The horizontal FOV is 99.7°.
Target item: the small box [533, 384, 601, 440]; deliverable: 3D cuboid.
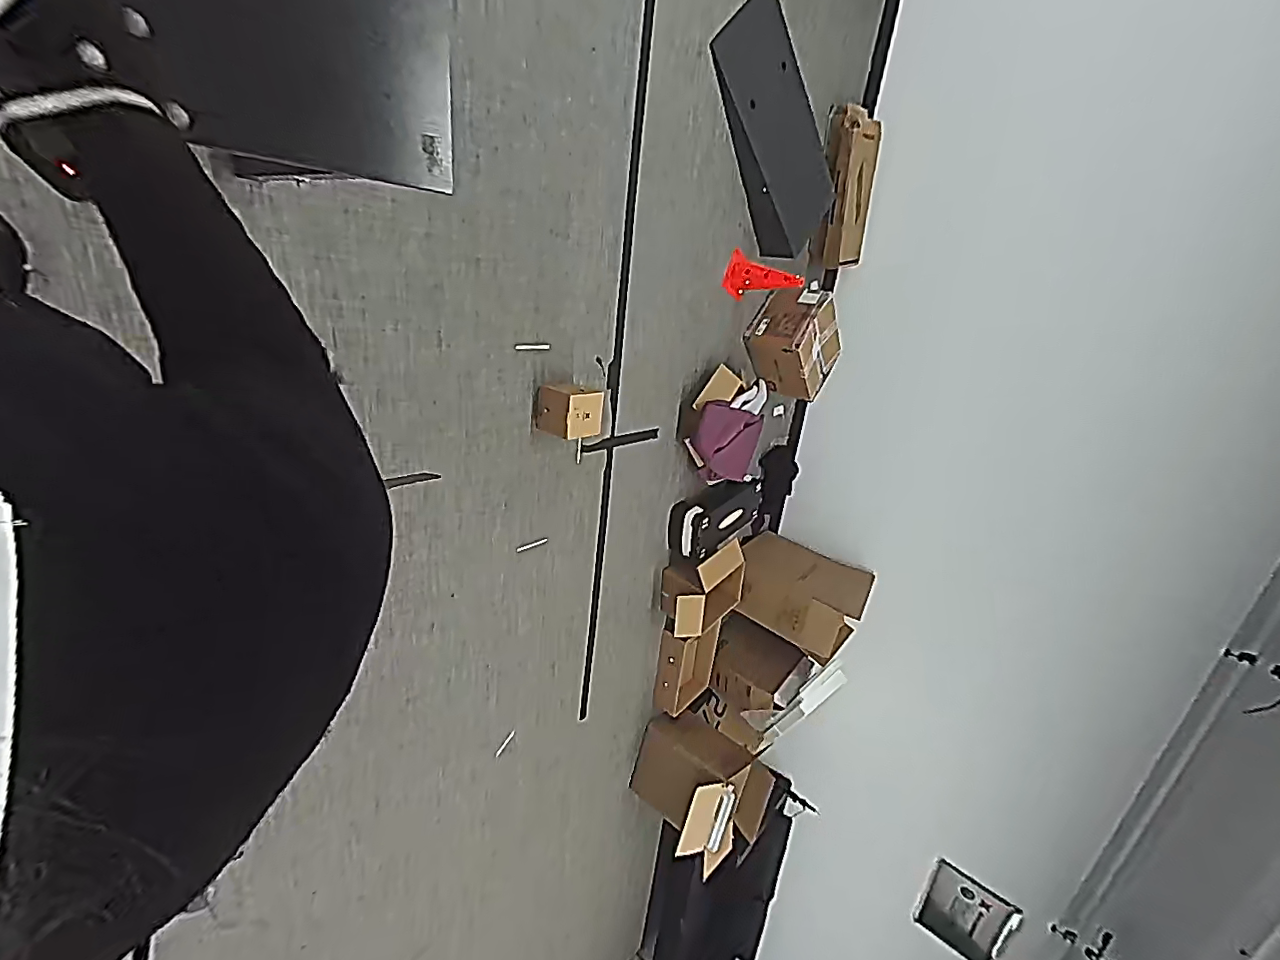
[{"bbox_3d":[-0.270,-0.259,2.003,0.179,0.176,0.168,-16,120,-48],"label":"small box"}]
